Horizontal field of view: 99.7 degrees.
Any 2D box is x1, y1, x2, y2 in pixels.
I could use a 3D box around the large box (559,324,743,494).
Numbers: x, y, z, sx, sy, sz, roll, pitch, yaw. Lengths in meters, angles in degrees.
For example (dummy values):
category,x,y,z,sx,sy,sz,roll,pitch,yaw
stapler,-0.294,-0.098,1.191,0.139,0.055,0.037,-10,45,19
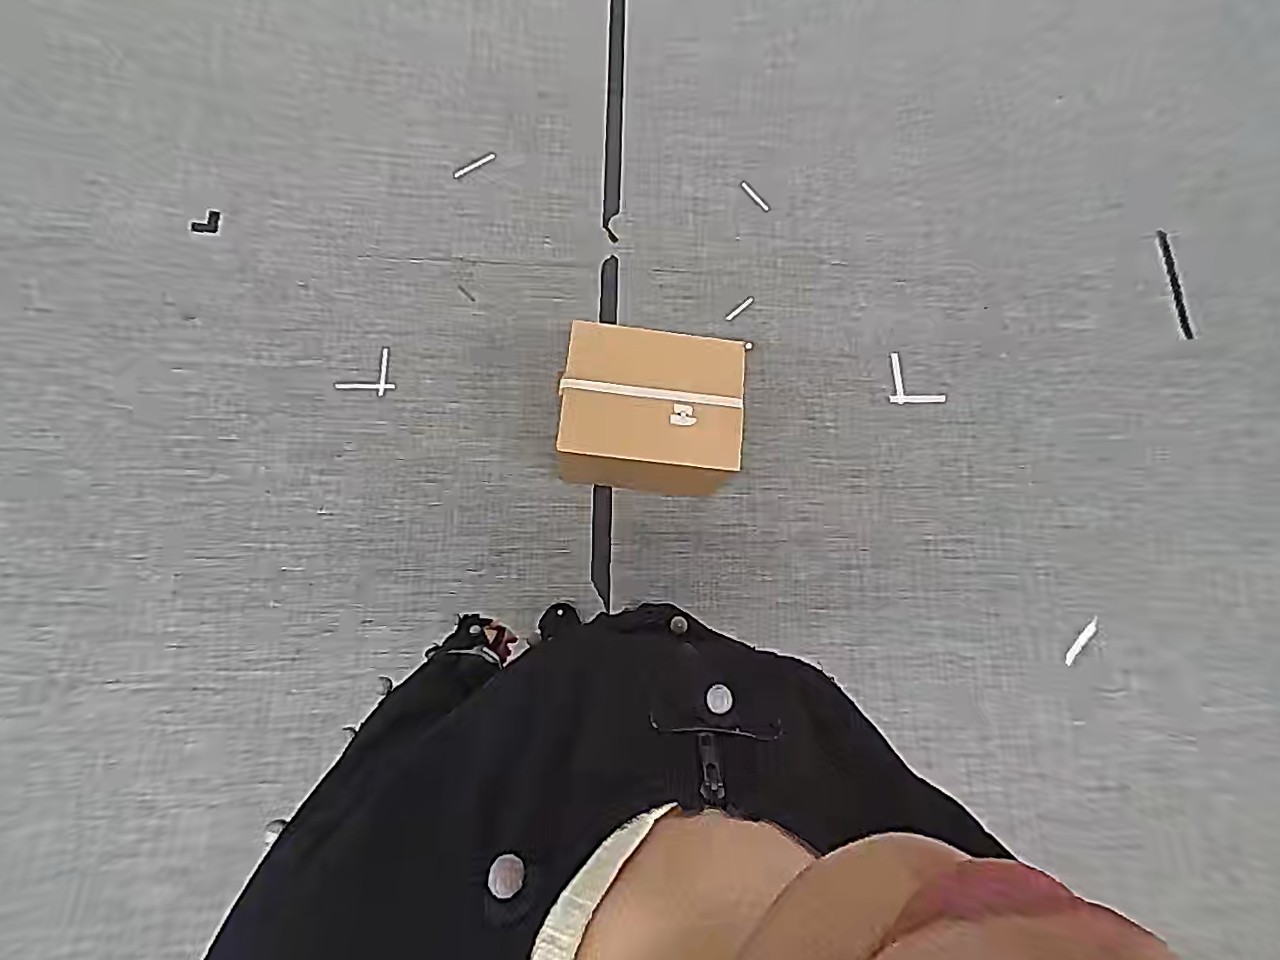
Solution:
category,x,y,z,sx,sy,sz,roll,pitch,yaw
large box,0.015,-0.157,1.351,0.408,0.320,0.320,6,77,-5
